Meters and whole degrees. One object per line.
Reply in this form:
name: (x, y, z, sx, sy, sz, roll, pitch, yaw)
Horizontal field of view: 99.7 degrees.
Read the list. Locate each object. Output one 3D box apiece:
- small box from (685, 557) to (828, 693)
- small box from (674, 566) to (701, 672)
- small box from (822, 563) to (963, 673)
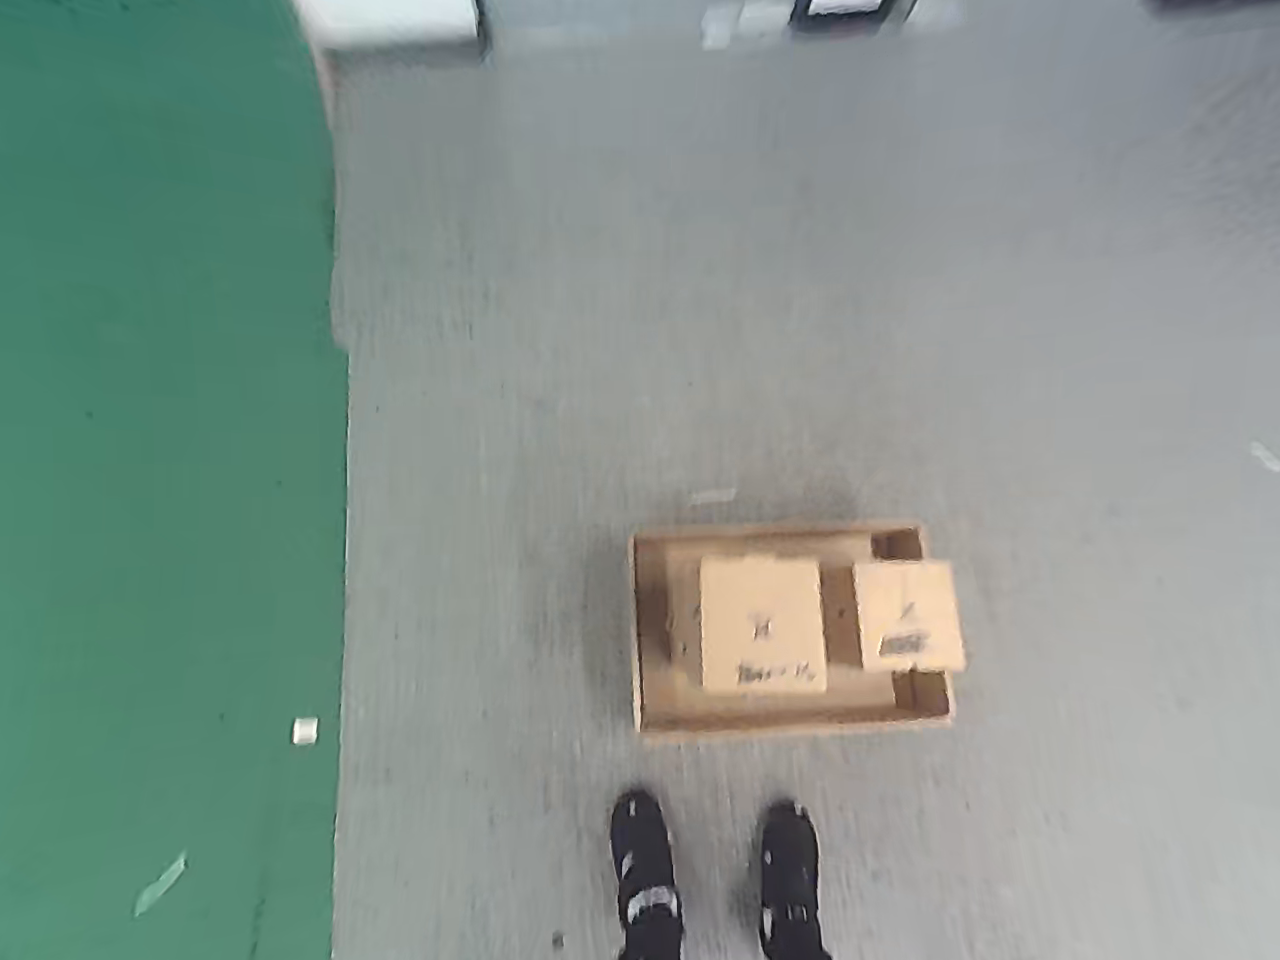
small box: (0.158, 0.214, 0.795, 0.168, 0.176, 0.179, 1, 73, -2)
small box: (0.153, 0.249, 0.956, 0.168, 0.176, 0.179, -1, 74, -3)
small box: (0.437, 0.245, 0.963, 0.168, 0.176, 0.179, 0, 74, 0)
